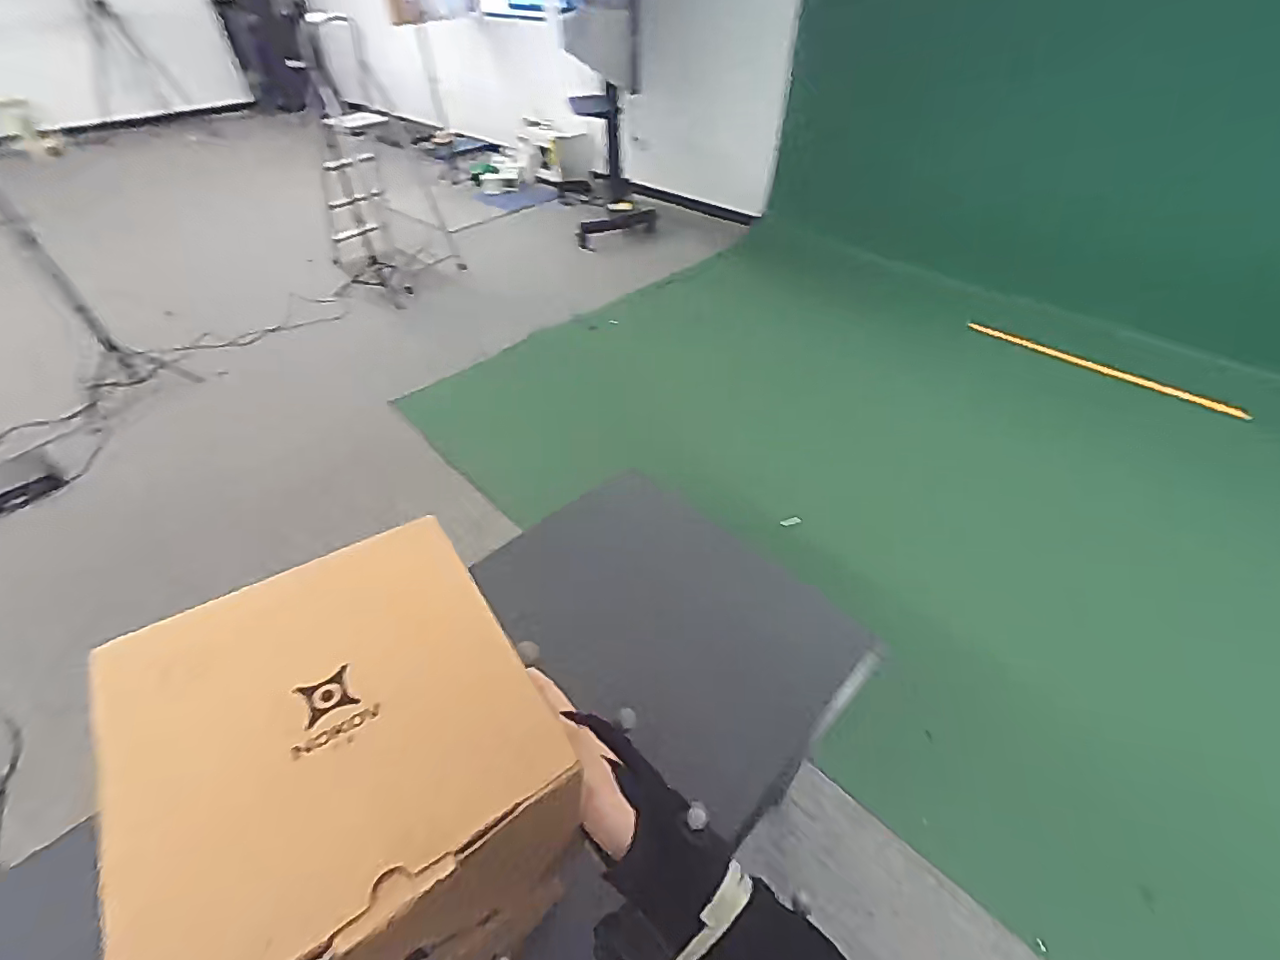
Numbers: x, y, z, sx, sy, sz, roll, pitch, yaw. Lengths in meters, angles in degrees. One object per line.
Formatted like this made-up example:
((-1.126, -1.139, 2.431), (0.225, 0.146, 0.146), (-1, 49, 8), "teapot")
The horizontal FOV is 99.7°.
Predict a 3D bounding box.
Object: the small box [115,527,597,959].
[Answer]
((-0.142, 0.165, 0.304), (0.168, 0.176, 0.179), (-24, 54, -29), "small box")
